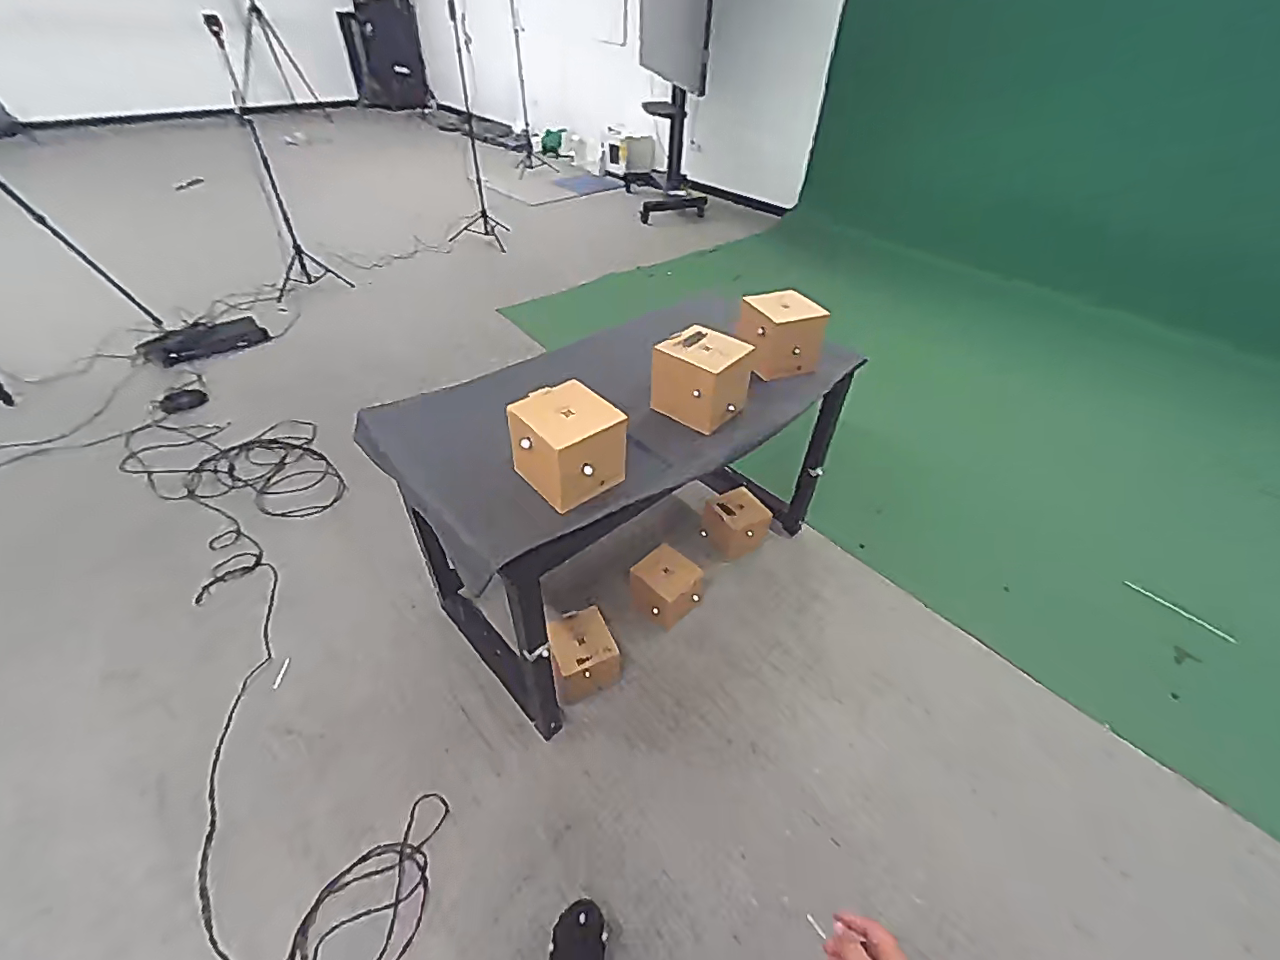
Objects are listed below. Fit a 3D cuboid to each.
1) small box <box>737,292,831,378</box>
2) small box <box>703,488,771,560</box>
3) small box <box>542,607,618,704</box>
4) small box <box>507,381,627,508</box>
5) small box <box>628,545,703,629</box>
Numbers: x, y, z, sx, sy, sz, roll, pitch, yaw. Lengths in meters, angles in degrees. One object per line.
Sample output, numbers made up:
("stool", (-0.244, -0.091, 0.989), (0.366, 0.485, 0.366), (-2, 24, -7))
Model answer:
("small box", (0.380, -0.387, 1.460), (0.168, 0.176, 0.179), (-13, 43, -18))
("small box", (0.339, 0.161, 1.942), (0.179, 0.176, 0.168), (-18, 47, -24))
("small box", (-0.172, 0.499, 1.541), (0.168, 0.176, 0.179), (-16, 46, -20))
("small box", (-0.142, -0.066, 1.081), (0.168, 0.176, 0.179), (-29, 51, -30))
("small box", (0.077, 0.347, 1.724), (0.168, 0.176, 0.179), (-32, 52, -33))
